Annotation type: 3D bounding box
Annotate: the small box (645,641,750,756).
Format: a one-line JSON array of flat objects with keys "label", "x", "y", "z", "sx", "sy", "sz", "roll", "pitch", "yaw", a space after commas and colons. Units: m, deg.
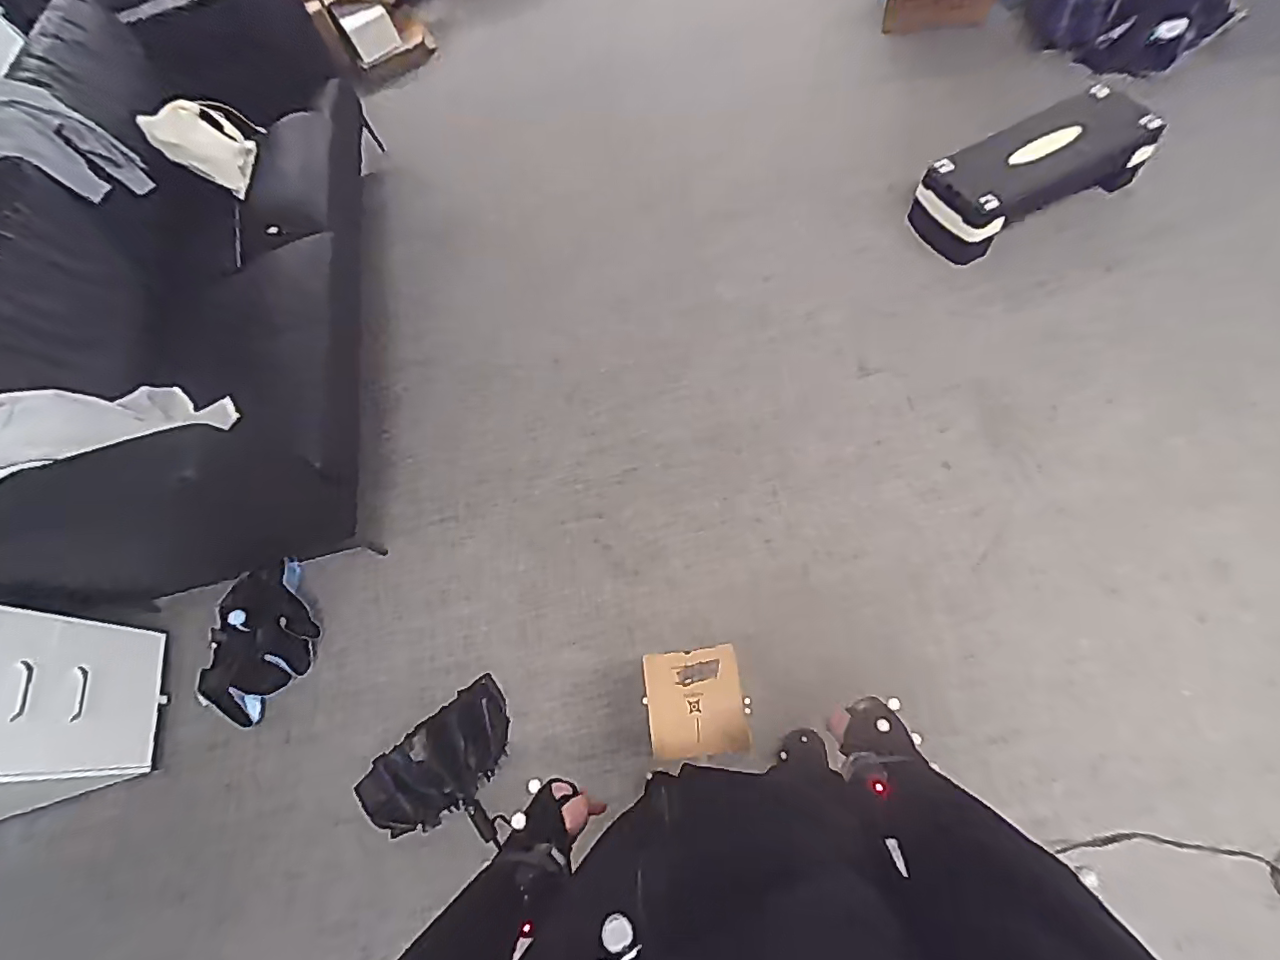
[{"label": "small box", "x": 0.107, "y": 0.411, "z": 1.013, "sx": 0.168, "sy": 0.176, "sz": 0.179, "roll": -9, "pitch": 65, "yaw": 6}]
